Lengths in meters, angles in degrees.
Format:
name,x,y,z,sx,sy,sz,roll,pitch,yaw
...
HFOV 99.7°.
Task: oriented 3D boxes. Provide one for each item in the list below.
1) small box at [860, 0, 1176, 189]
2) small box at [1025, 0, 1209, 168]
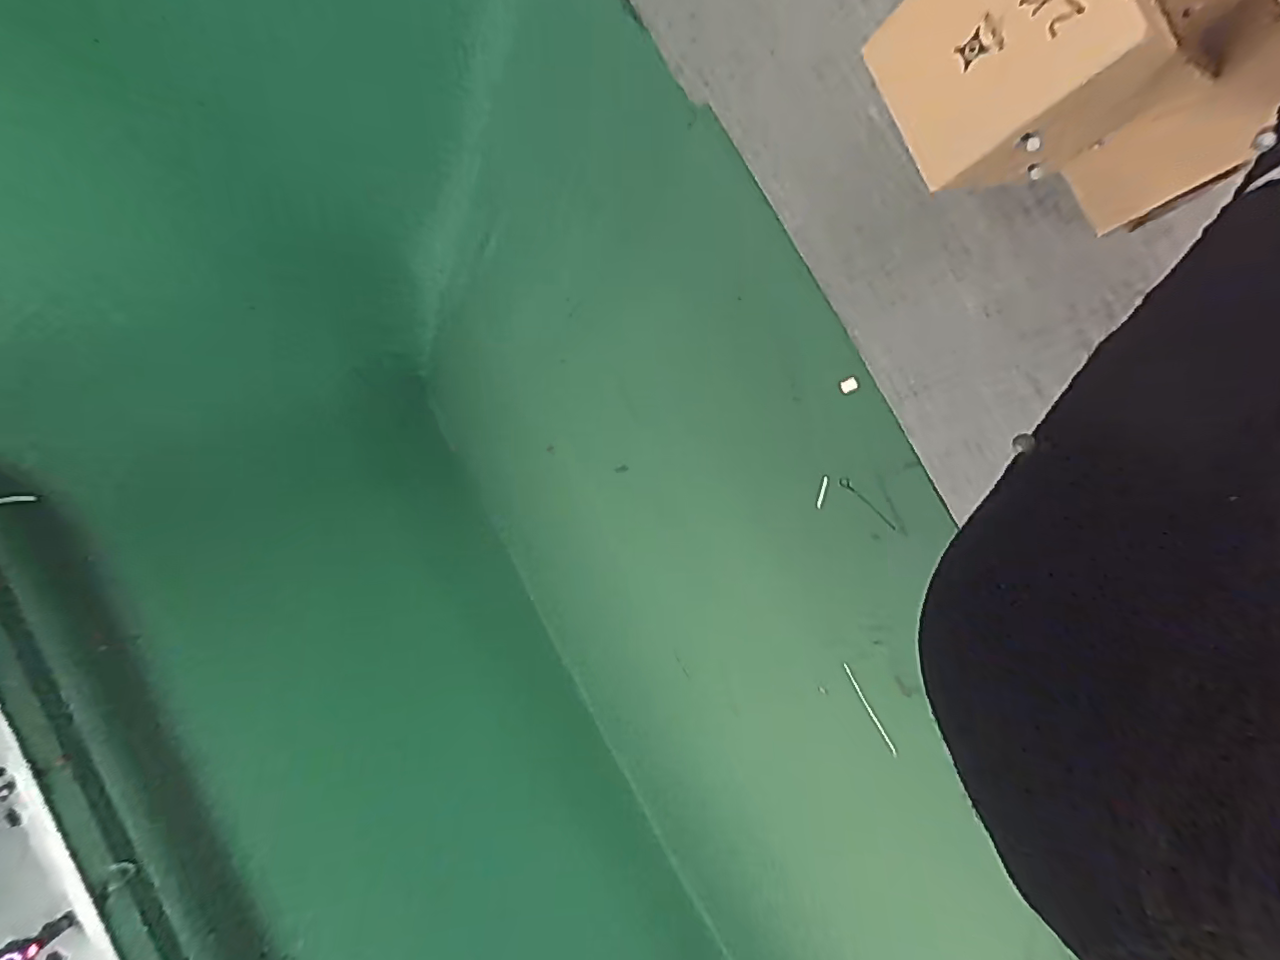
name,x,y,z,sx,sy,sz,roll,pitch,yaw
small box,0.359,-0.413,0.523,0.179,0.176,0.168,-27,89,56
small box,0.598,-0.542,0.712,0.168,0.176,0.179,-23,91,56
